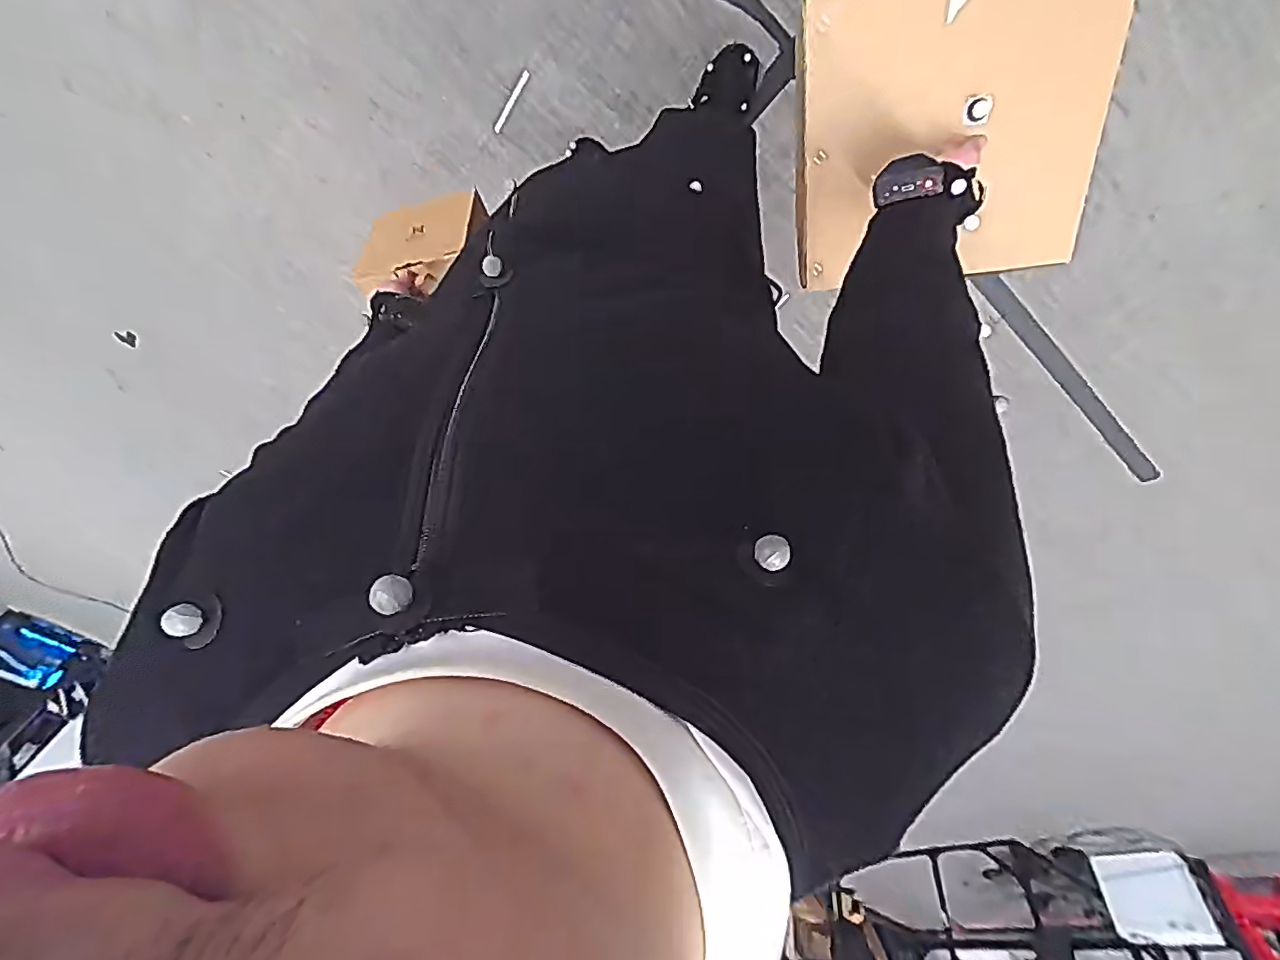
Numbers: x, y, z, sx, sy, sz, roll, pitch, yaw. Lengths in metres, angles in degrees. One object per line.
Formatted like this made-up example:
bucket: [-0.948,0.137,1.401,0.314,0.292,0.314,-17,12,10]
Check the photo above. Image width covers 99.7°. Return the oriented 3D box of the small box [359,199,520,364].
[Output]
small box: [-0.301,-0.302,0.855,0.168,0.179,0.176,-11,142,8]
